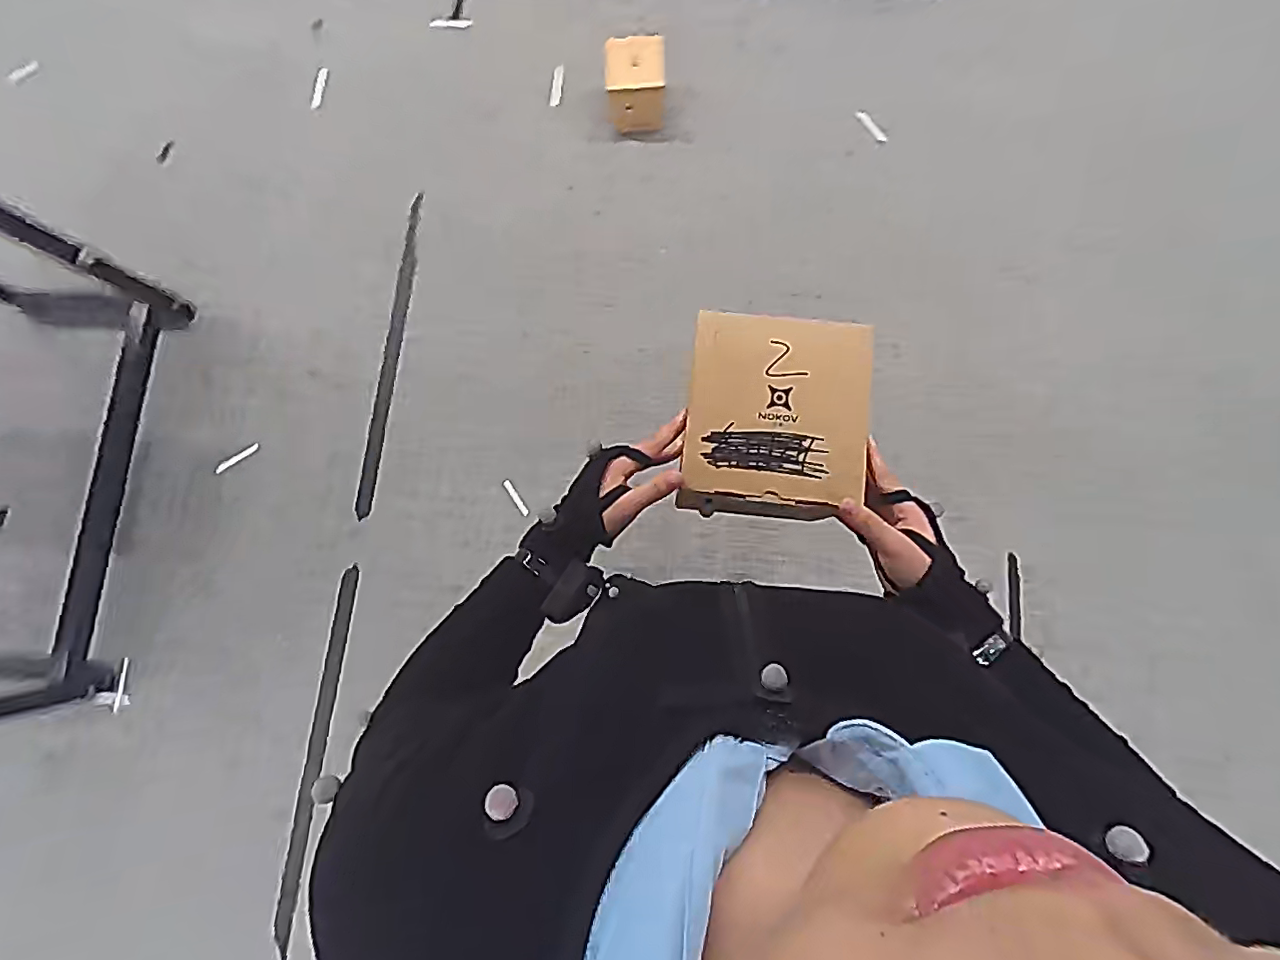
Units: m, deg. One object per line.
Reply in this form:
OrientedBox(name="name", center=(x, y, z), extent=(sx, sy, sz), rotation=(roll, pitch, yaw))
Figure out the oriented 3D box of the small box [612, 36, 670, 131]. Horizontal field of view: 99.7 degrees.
OrientedBox(name="small box", center=(0.006, -1.206, 1.658), extent=(0.168, 0.176, 0.179), rotation=(-2, 81, 3))
